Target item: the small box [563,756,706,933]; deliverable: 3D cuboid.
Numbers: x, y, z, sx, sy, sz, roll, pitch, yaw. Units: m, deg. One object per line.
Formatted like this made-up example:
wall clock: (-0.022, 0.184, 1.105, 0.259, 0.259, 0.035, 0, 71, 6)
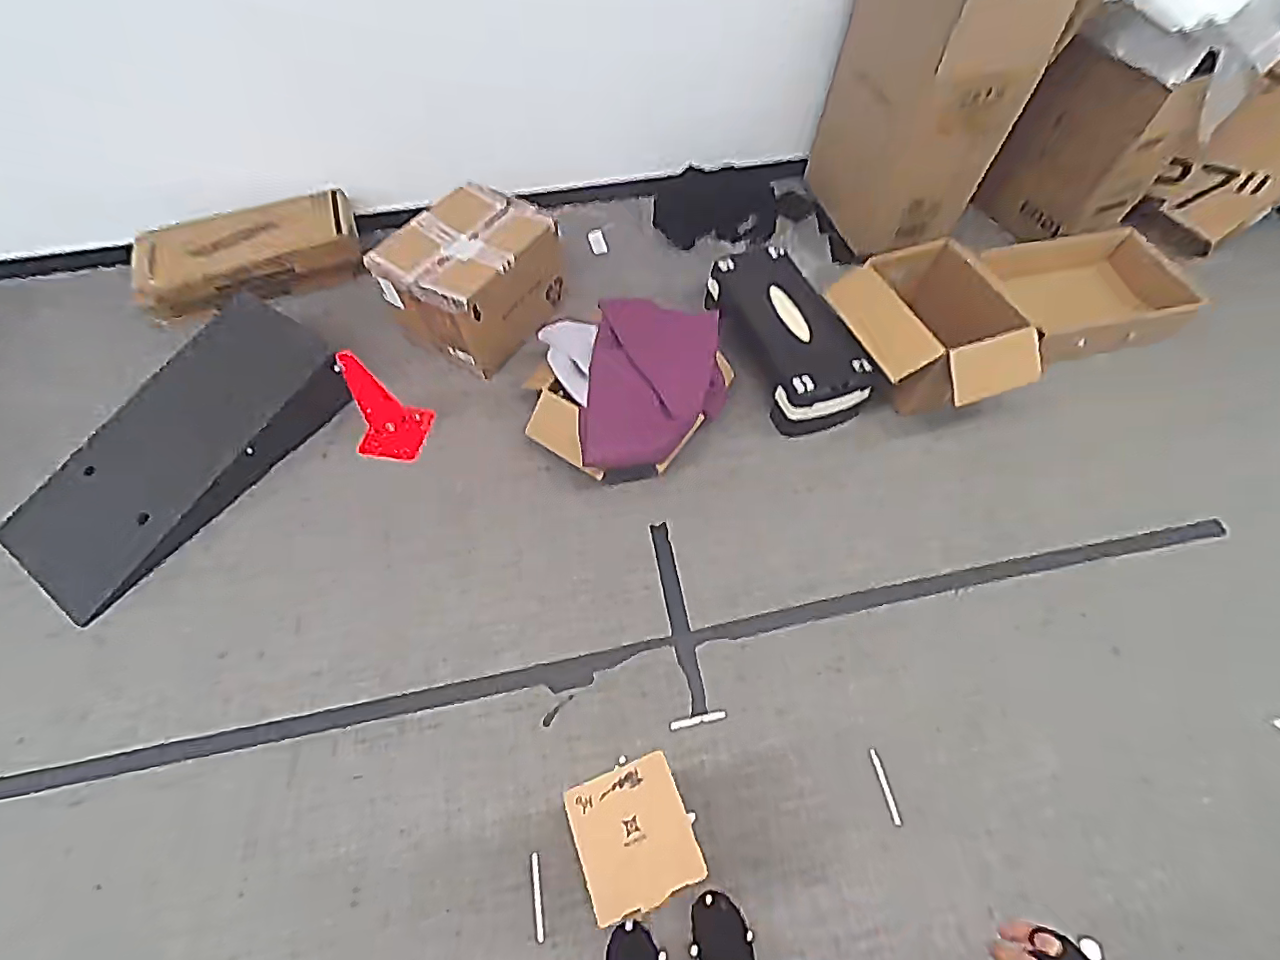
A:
small box: (-0.007, 0.556, 0.849, 0.168, 0.176, 0.179, -19, 61, -9)
